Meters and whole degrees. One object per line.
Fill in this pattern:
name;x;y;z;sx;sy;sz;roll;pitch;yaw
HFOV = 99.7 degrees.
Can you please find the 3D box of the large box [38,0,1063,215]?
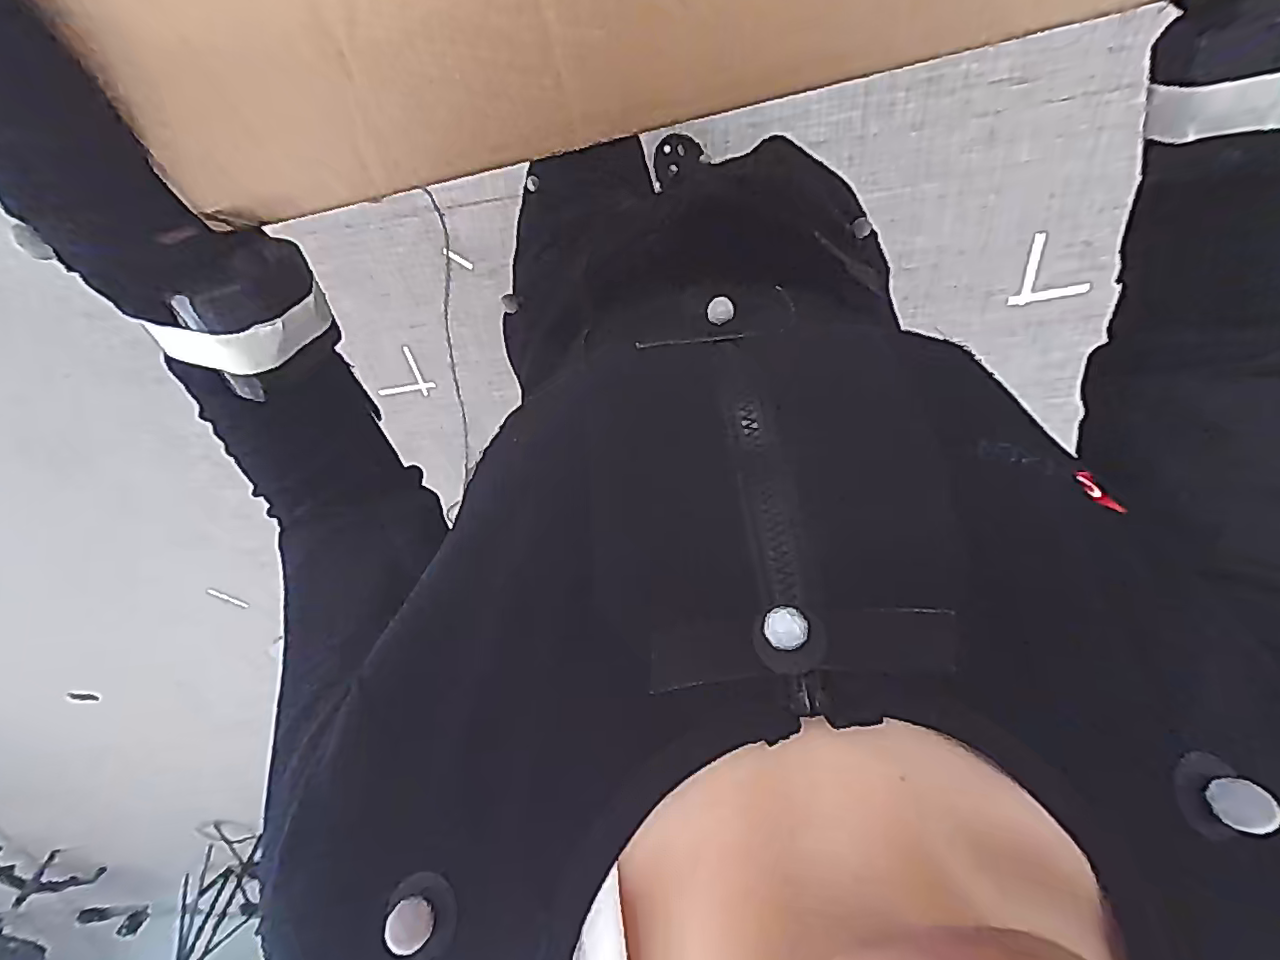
large box;-0.031;-0.360;0.182;0.408;0.320;0.320;-10;144;6
